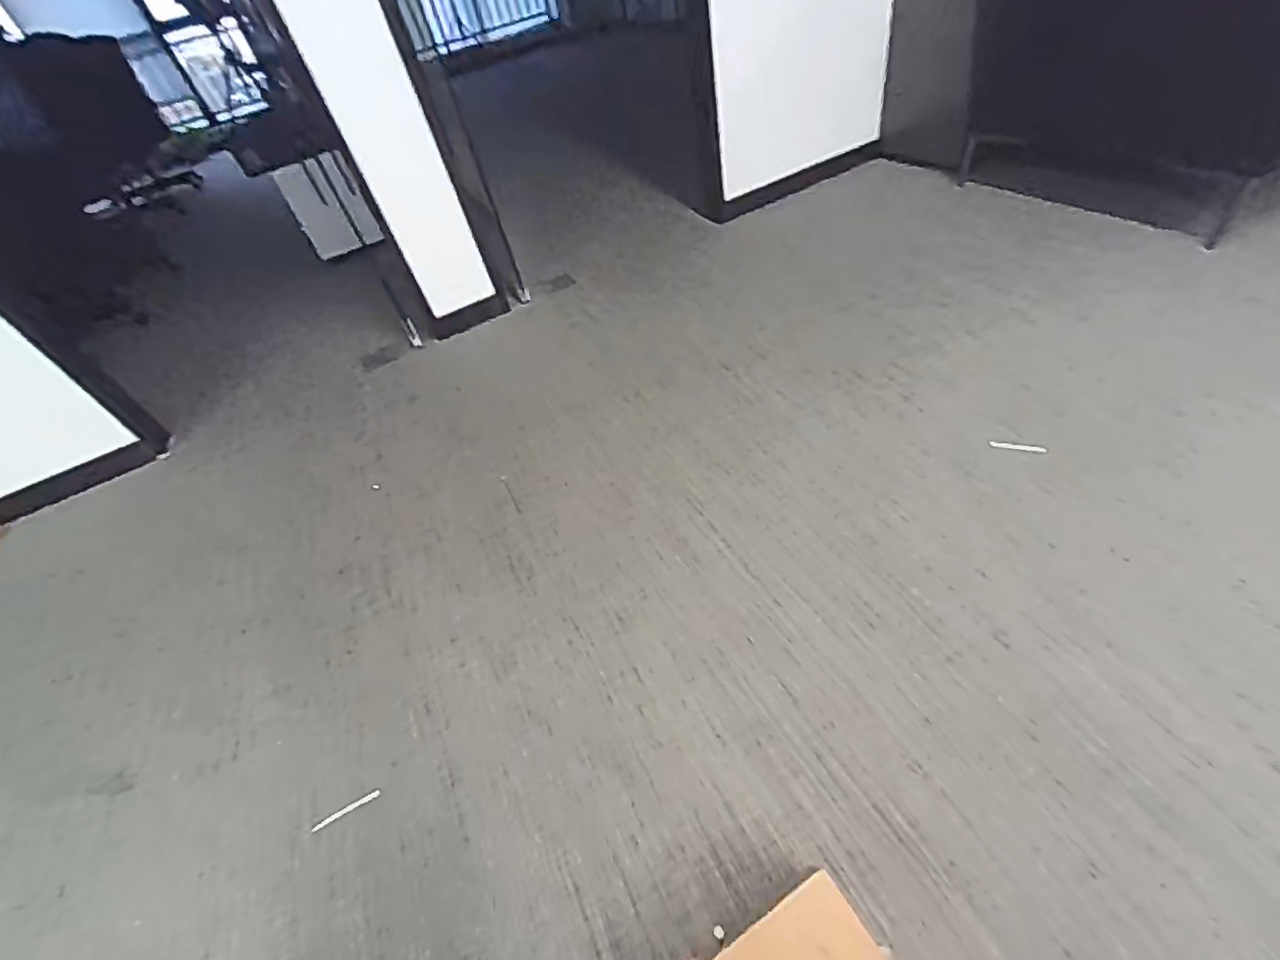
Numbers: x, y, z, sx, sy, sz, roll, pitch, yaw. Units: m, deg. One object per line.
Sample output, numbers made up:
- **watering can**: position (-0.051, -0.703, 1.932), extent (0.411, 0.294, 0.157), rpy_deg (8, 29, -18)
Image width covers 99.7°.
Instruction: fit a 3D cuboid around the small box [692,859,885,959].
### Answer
- **small box**: position (0.168, 0.529, 0.558), extent (0.179, 0.176, 0.168), rpy_deg (-33, 58, -9)
